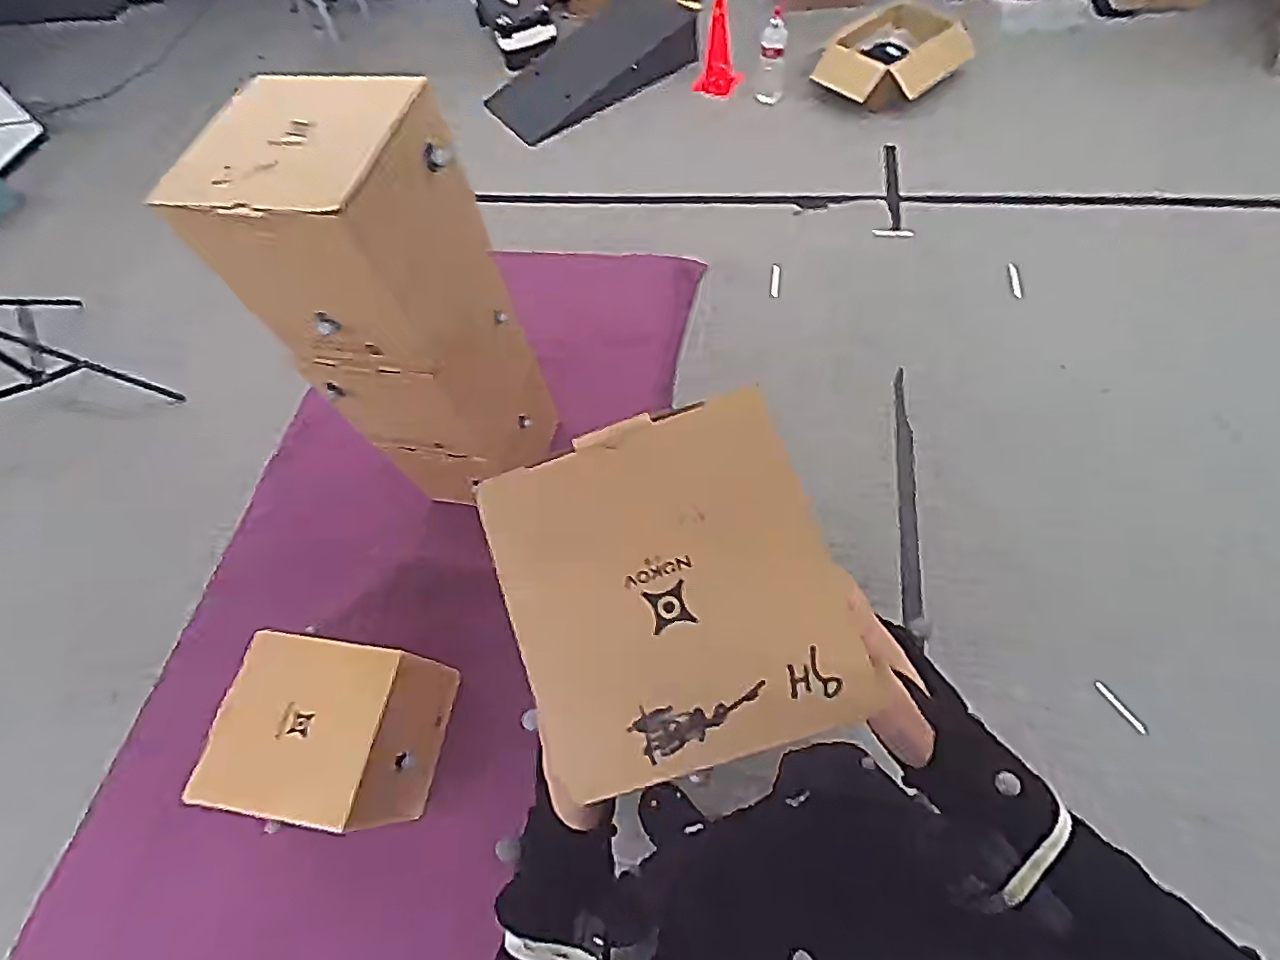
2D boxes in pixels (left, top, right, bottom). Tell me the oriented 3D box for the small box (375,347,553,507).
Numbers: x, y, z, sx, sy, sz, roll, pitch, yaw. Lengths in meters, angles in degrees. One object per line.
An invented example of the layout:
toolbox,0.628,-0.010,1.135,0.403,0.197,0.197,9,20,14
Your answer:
small box,-0.238,-0.069,0.786,0.168,0.176,0.179,7,63,9

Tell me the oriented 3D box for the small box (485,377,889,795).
small box,0.028,0.062,0.354,0.168,0.176,0.179,-20,79,7

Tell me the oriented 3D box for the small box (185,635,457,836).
small box,-0.336,0.283,0.613,0.179,0.176,0.168,4,63,9

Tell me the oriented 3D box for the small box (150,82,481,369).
small box,-0.267,-0.229,0.500,0.168,0.176,0.179,7,64,10
